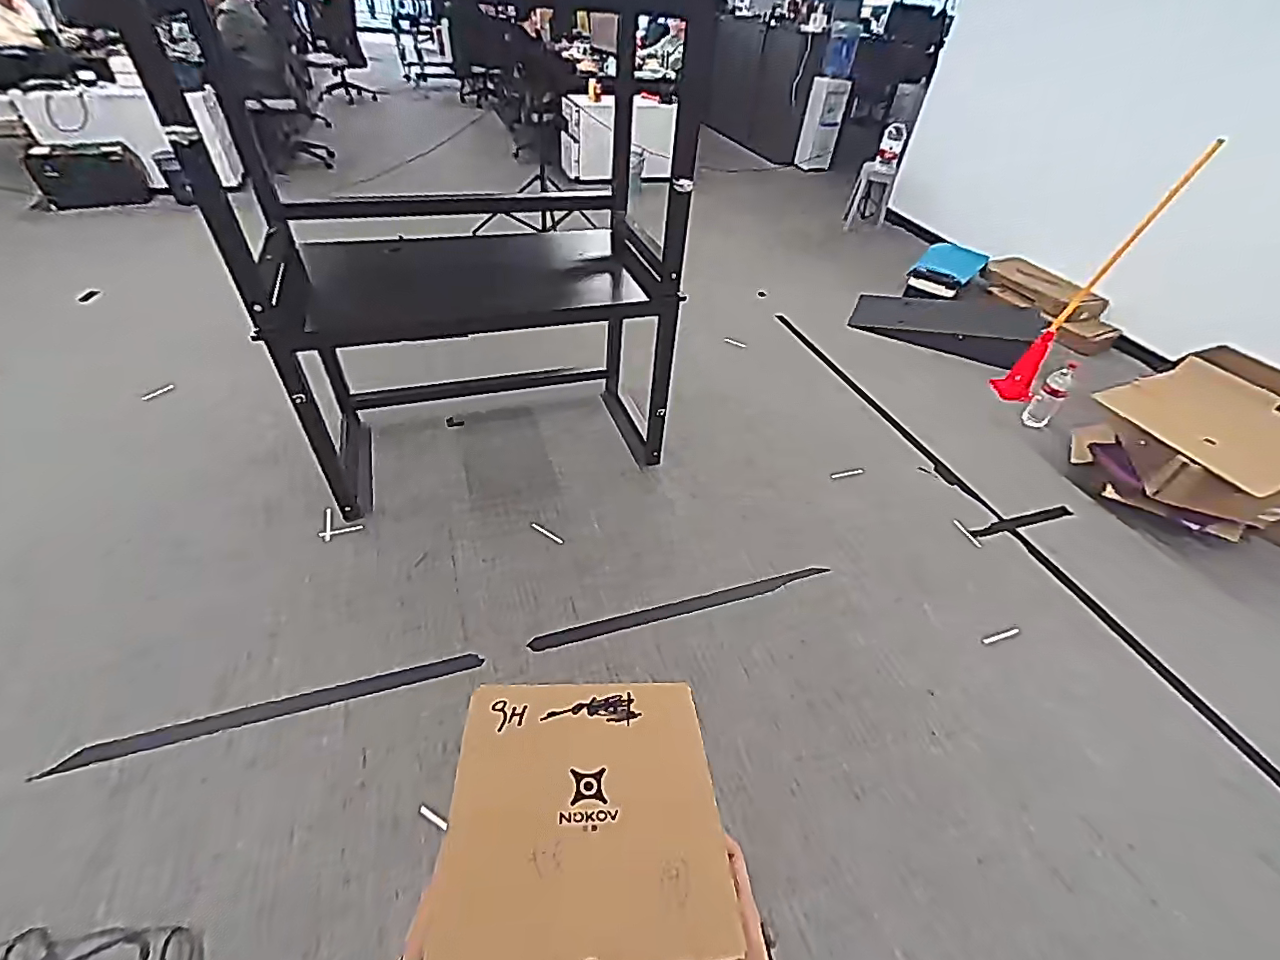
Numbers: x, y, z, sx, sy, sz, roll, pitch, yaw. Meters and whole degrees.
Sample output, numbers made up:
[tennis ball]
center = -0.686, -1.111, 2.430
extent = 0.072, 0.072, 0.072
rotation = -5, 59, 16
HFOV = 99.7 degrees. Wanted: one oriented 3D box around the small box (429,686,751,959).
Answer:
[small box]
center = -0.038, 0.270, 0.376
extent = 0.168, 0.176, 0.179
rotation = 3, 32, -9
